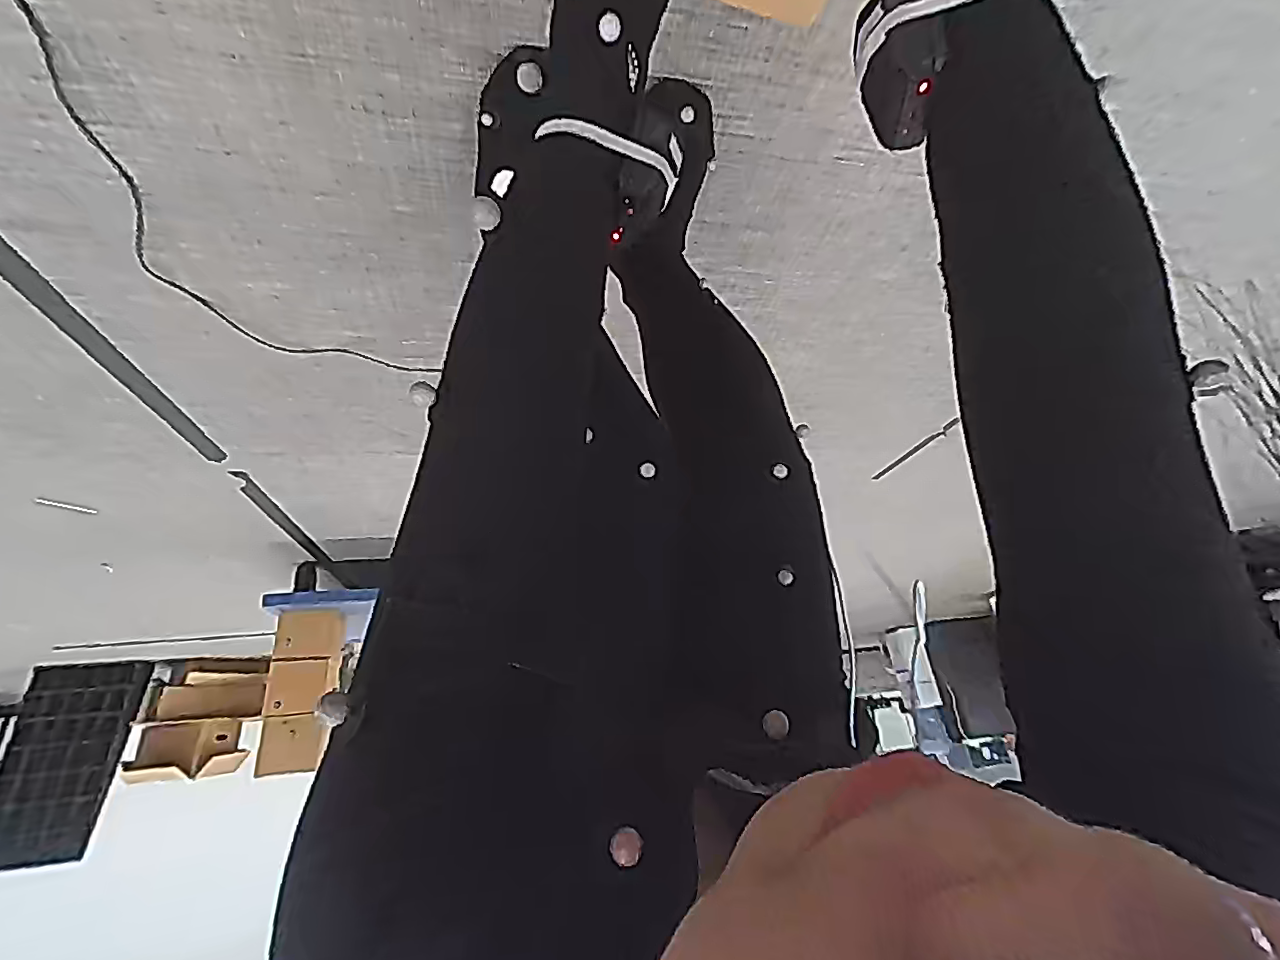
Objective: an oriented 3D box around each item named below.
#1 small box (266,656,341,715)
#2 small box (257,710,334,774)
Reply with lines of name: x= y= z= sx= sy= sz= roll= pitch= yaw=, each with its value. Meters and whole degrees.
small box: x=-1.113 y=0.686 z=1.803 sx=0.179 sy=0.176 sz=0.168 roll=2 pitch=155 yaw=-17
small box: x=-1.098 y=0.838 z=1.740 sx=0.168 sy=0.176 sz=0.179 roll=3 pitch=155 yaw=-19
